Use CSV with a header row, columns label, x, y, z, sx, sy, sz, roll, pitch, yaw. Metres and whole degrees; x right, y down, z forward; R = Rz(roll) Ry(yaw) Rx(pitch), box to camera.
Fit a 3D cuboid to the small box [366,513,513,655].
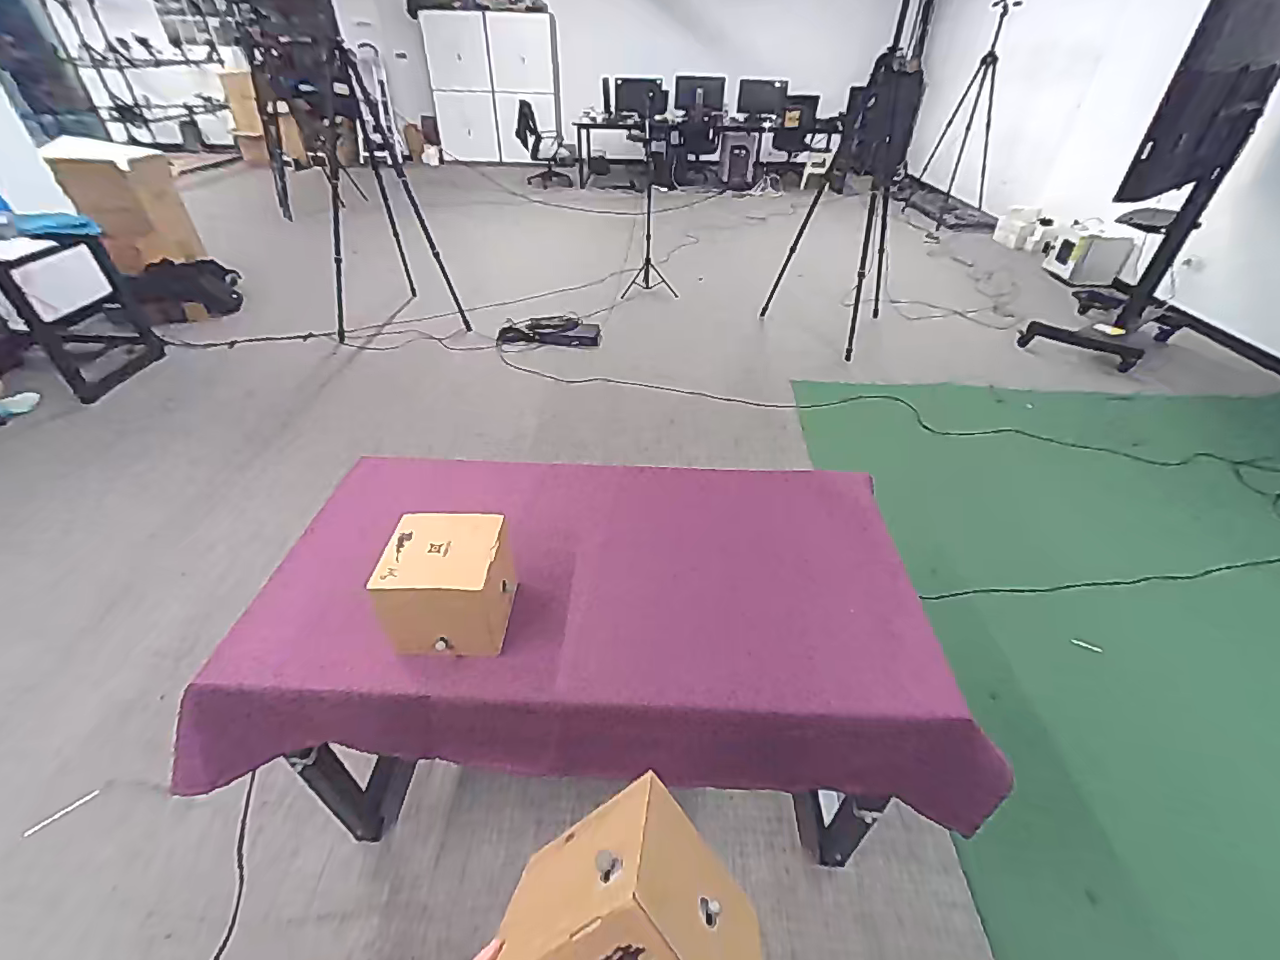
label,x,y,z,sx,sy,sz,roll,pitch,yaw
small box,-0.318,0.175,0.904,0.179,0.176,0.168,2,38,-1
